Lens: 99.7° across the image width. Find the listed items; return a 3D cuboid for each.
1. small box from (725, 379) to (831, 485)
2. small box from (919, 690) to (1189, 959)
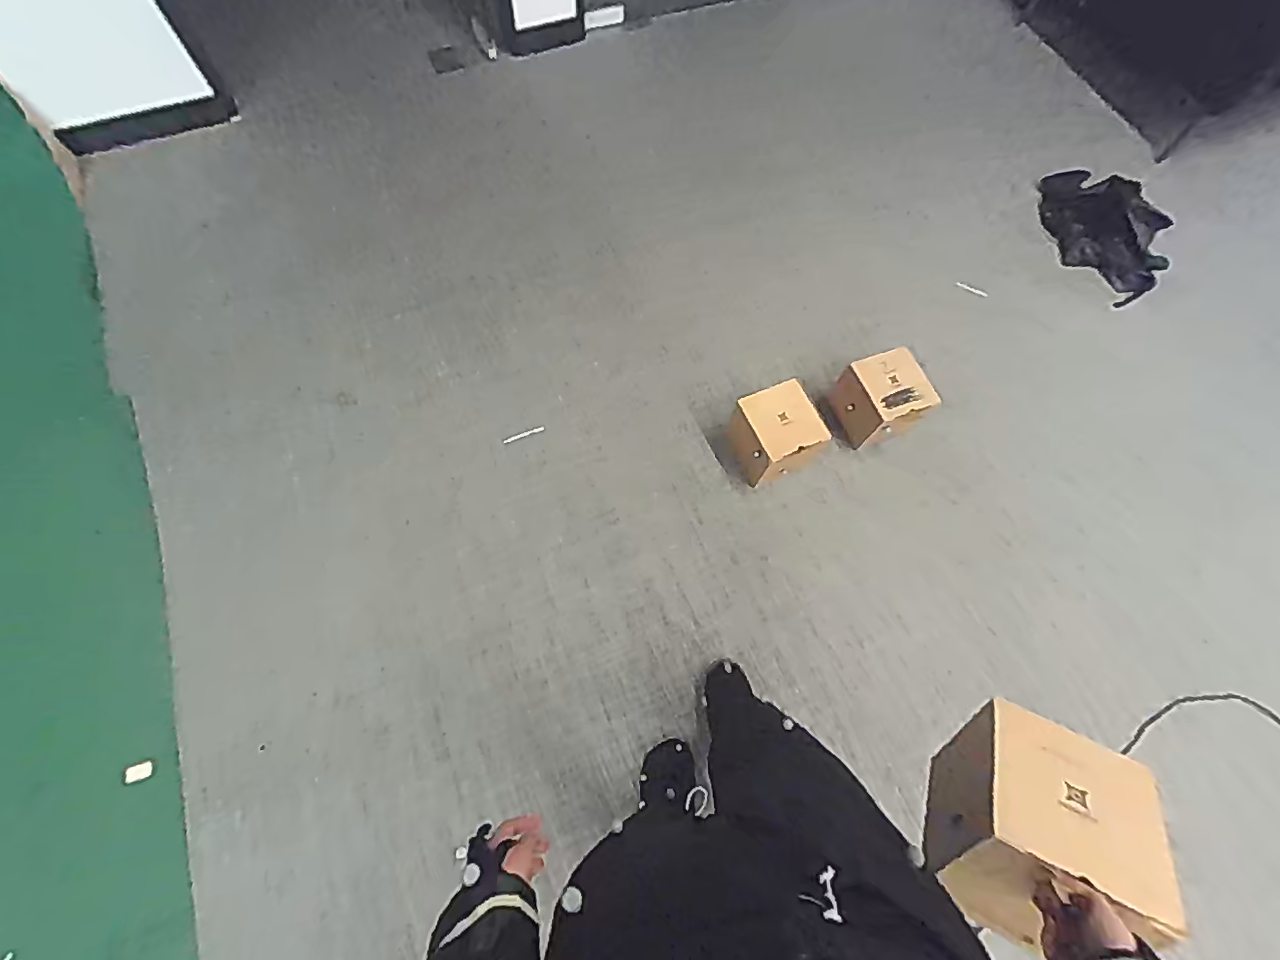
[{"bbox_3d":[0.329,-0.114,1.330,0.168,0.176,0.179,-21,72,-12],"label":"small box"},{"bbox_3d":[0.432,0.382,0.600,0.168,0.176,0.179,24,39,17],"label":"small box"}]
